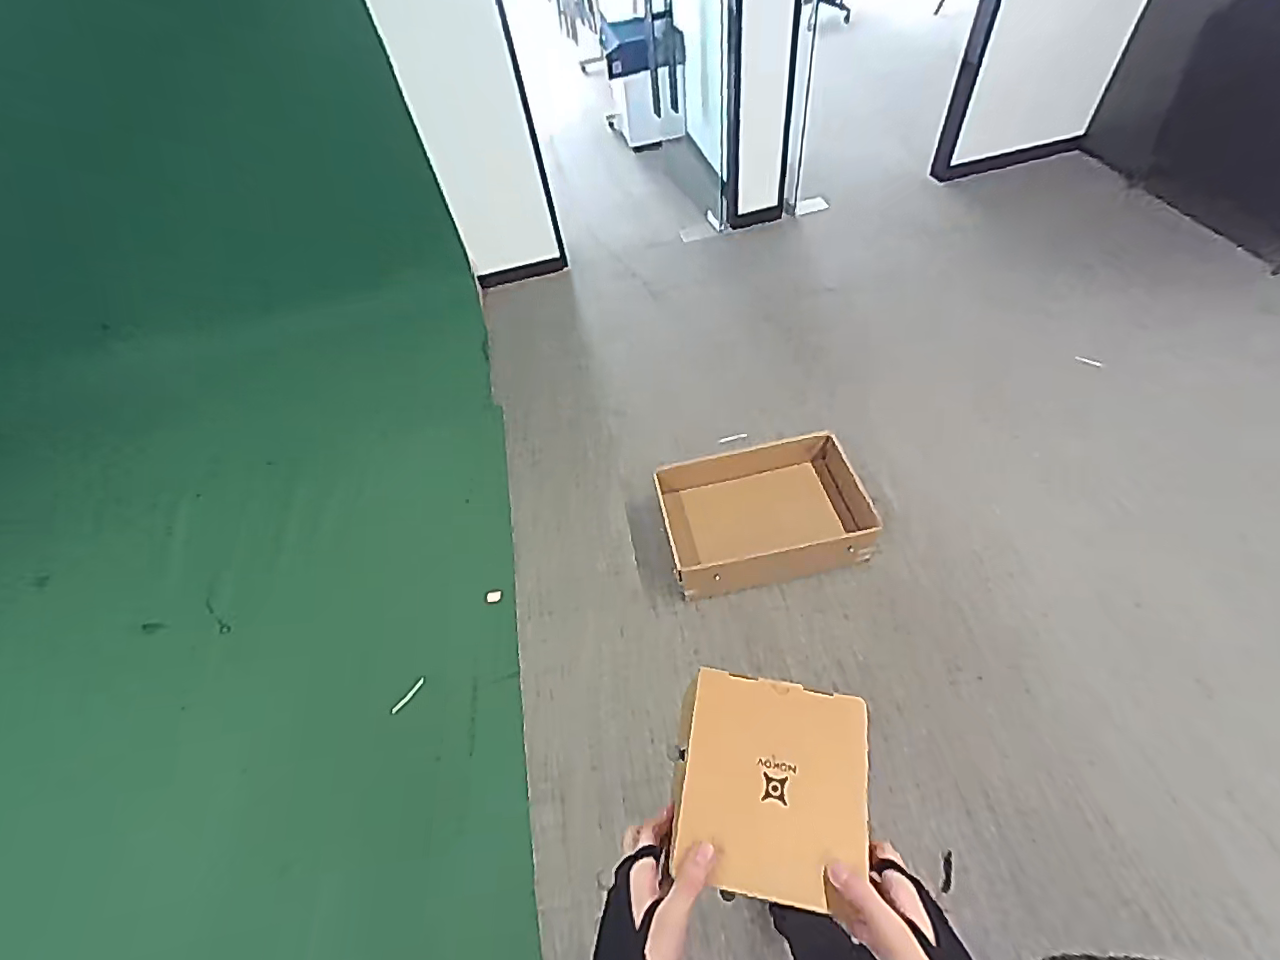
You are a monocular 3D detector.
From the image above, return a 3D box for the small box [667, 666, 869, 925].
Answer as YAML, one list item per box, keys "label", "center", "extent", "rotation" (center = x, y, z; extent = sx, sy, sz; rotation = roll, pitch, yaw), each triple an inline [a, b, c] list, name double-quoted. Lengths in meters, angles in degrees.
- label: "small box"
  center: [0.122, 0.311, 0.554]
  extent: [0.168, 0.176, 0.179]
  rotation: [10, 60, 5]
